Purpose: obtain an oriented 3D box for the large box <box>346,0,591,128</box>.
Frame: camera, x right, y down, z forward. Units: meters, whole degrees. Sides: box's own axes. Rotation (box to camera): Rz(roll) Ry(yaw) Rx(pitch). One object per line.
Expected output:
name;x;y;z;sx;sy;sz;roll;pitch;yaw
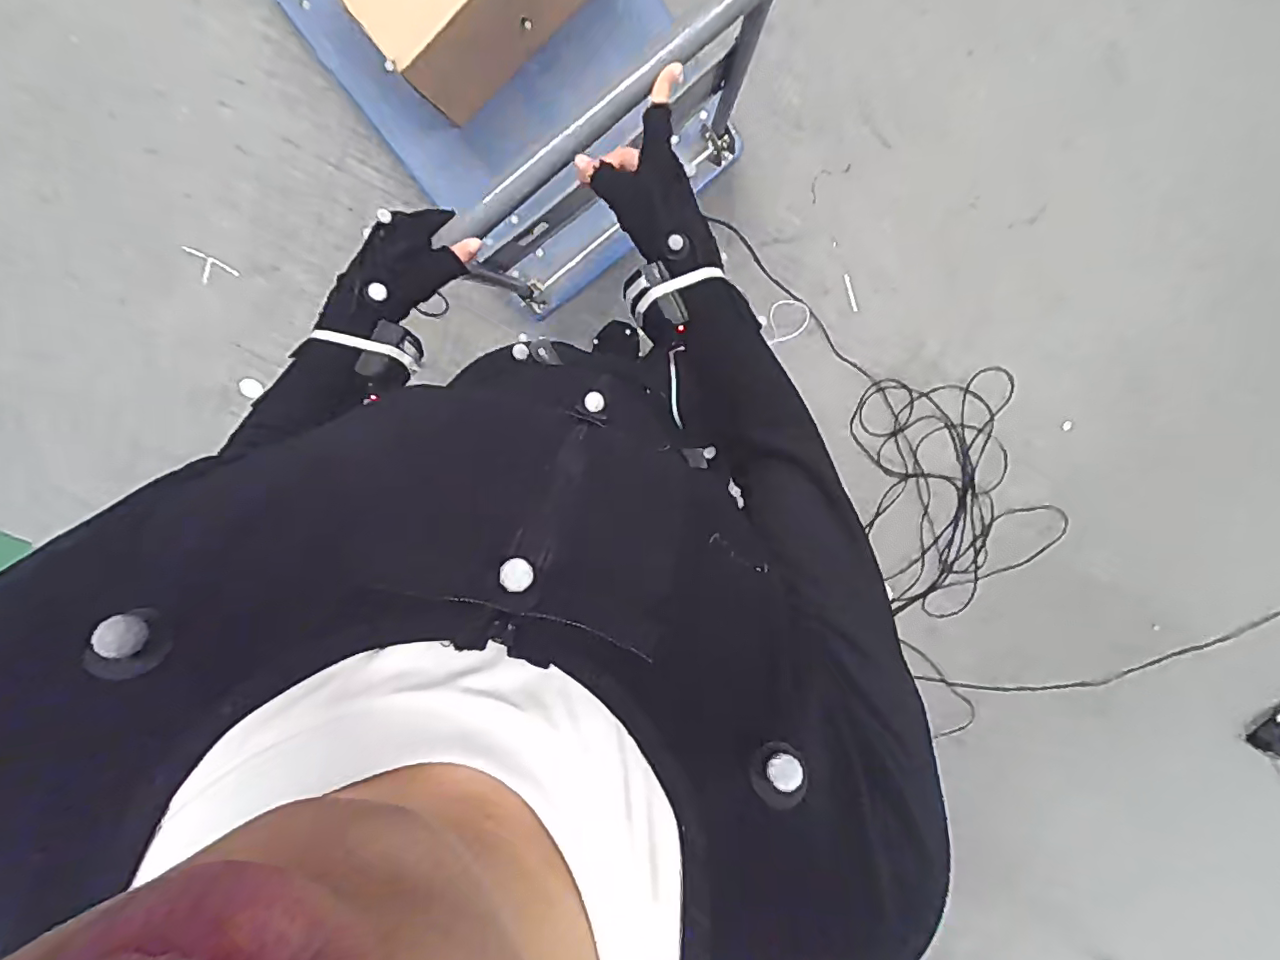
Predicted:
large box;-0.279;-0.868;0.851;0.408;0.320;0.320;-38;106;13
